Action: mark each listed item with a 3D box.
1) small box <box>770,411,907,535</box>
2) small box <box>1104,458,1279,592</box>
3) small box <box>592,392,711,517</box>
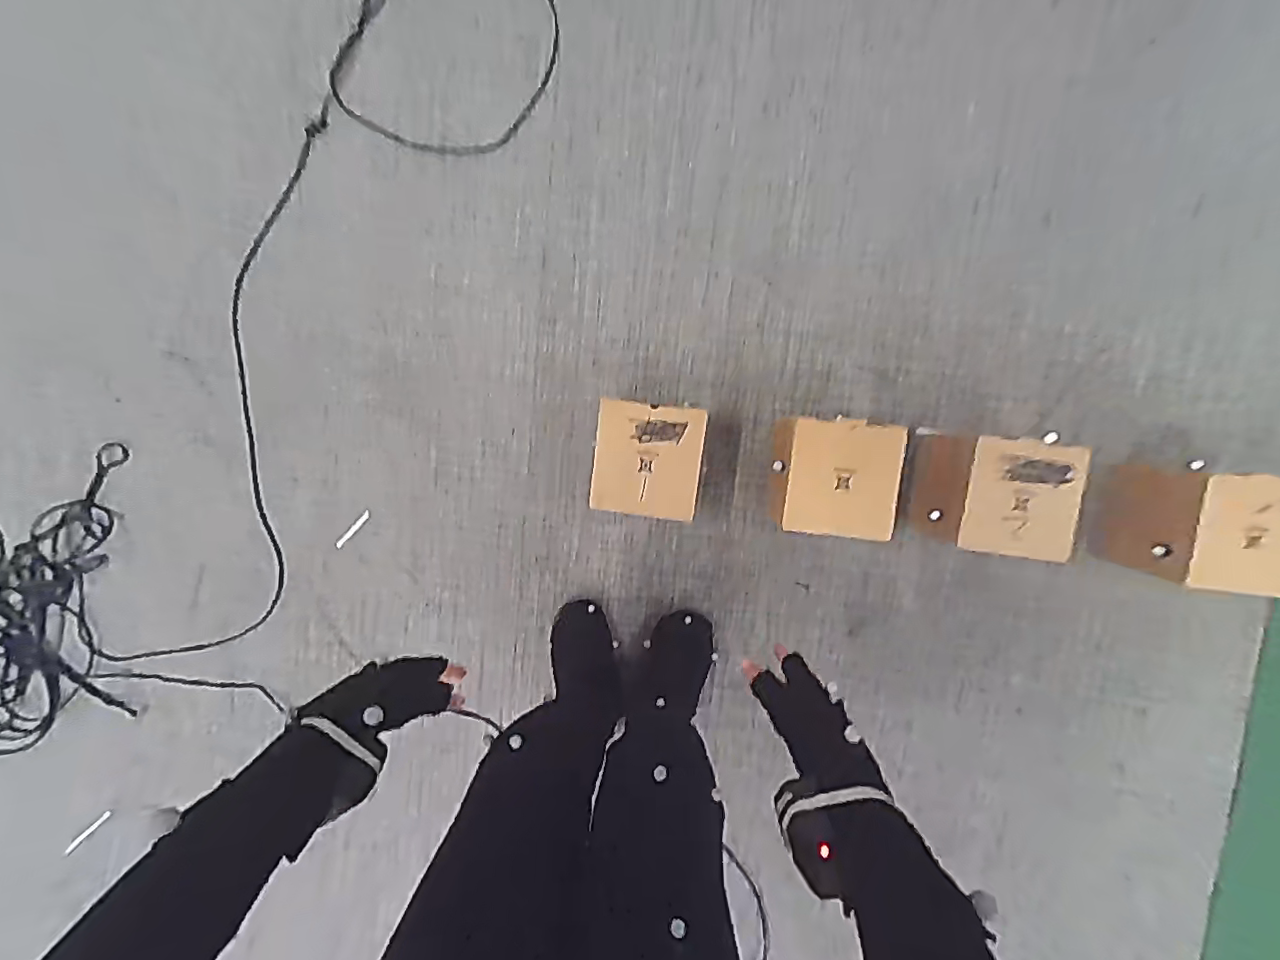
[{"bbox_3d":[0.314,-0.016,0.892,0.168,0.176,0.179,5,95,4],"label":"small box"},{"bbox_3d":[0.897,0.064,0.863,0.168,0.176,0.179,6,96,2],"label":"small box"},{"bbox_3d":[0.021,-0.047,0.905,0.168,0.176,0.179,8,97,3],"label":"small box"}]
